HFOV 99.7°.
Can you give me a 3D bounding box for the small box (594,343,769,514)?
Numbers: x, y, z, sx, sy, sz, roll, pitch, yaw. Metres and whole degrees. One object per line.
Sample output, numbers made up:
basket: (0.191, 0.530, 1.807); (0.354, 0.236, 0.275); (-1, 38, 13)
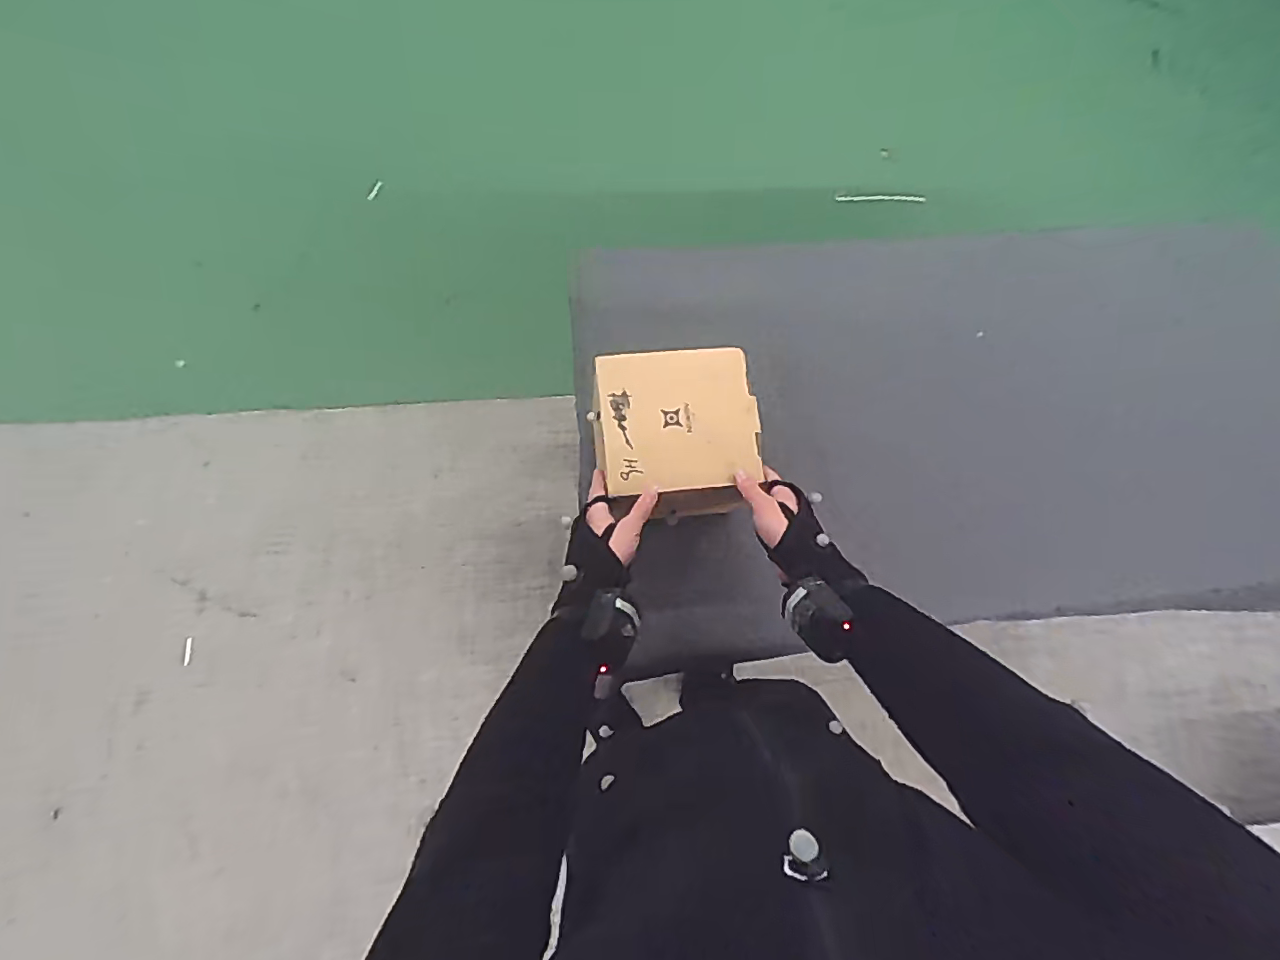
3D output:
small box: (0.039, -0.056, 0.671); (0.179, 0.176, 0.168); (-3, 76, -9)
